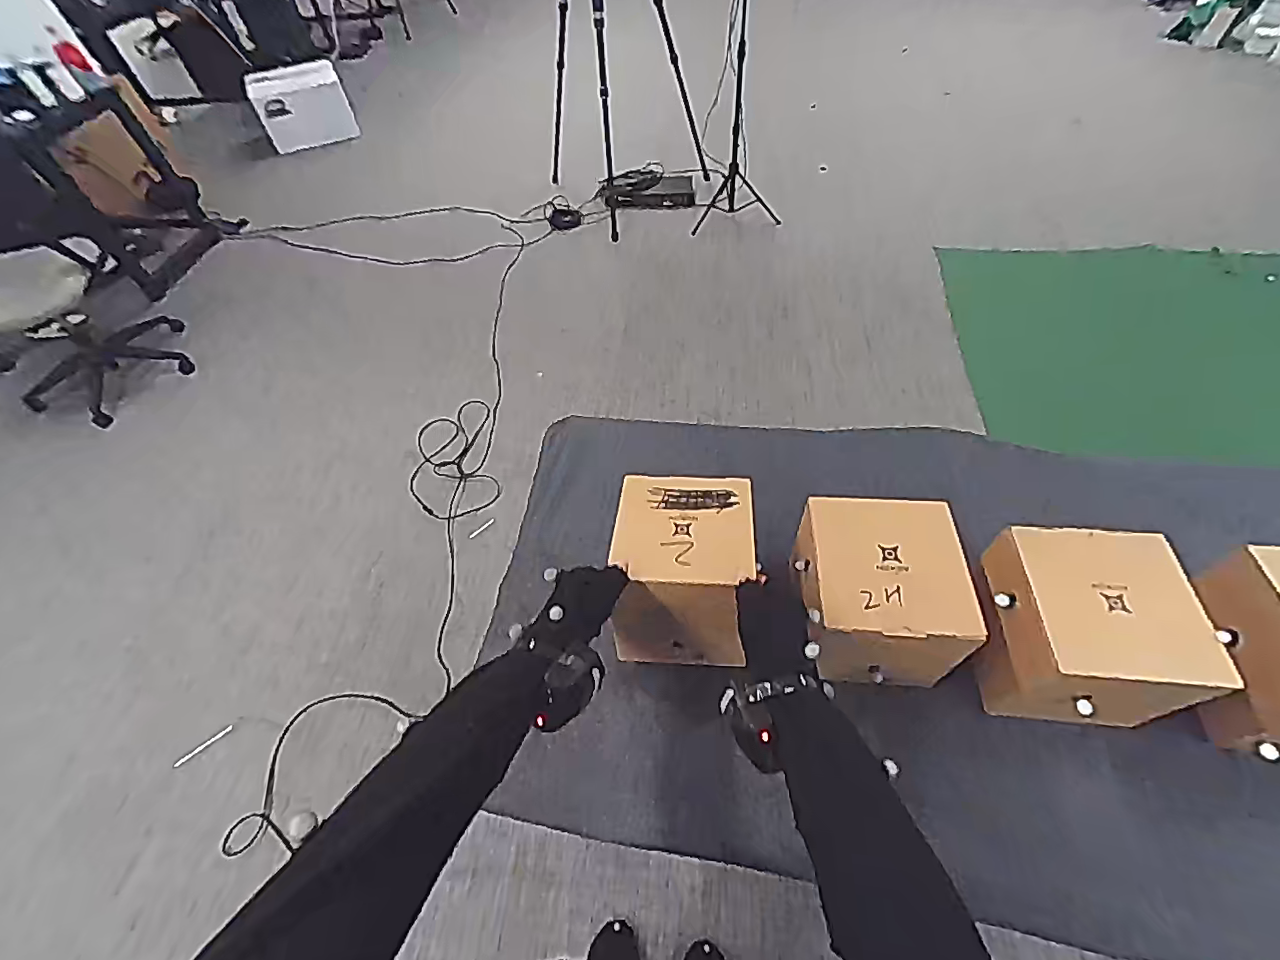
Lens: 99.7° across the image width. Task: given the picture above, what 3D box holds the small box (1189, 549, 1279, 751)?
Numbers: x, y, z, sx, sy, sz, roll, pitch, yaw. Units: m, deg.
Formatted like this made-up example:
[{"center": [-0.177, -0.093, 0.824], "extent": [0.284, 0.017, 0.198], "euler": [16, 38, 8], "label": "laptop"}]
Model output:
[{"center": [0.740, 0.196, 0.595], "extent": [0.168, 0.176, 0.179], "euler": [3, 52, 7], "label": "small box"}]

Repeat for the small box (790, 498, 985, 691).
[{"center": [0.285, 0.143, 0.673], "extent": [0.168, 0.176, 0.179], "euler": [2, 53, 7], "label": "small box"}]

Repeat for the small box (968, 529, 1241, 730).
[{"center": [0.503, 0.178, 0.632], "extent": [0.168, 0.176, 0.179], "euler": [3, 52, 7], "label": "small box"}]
